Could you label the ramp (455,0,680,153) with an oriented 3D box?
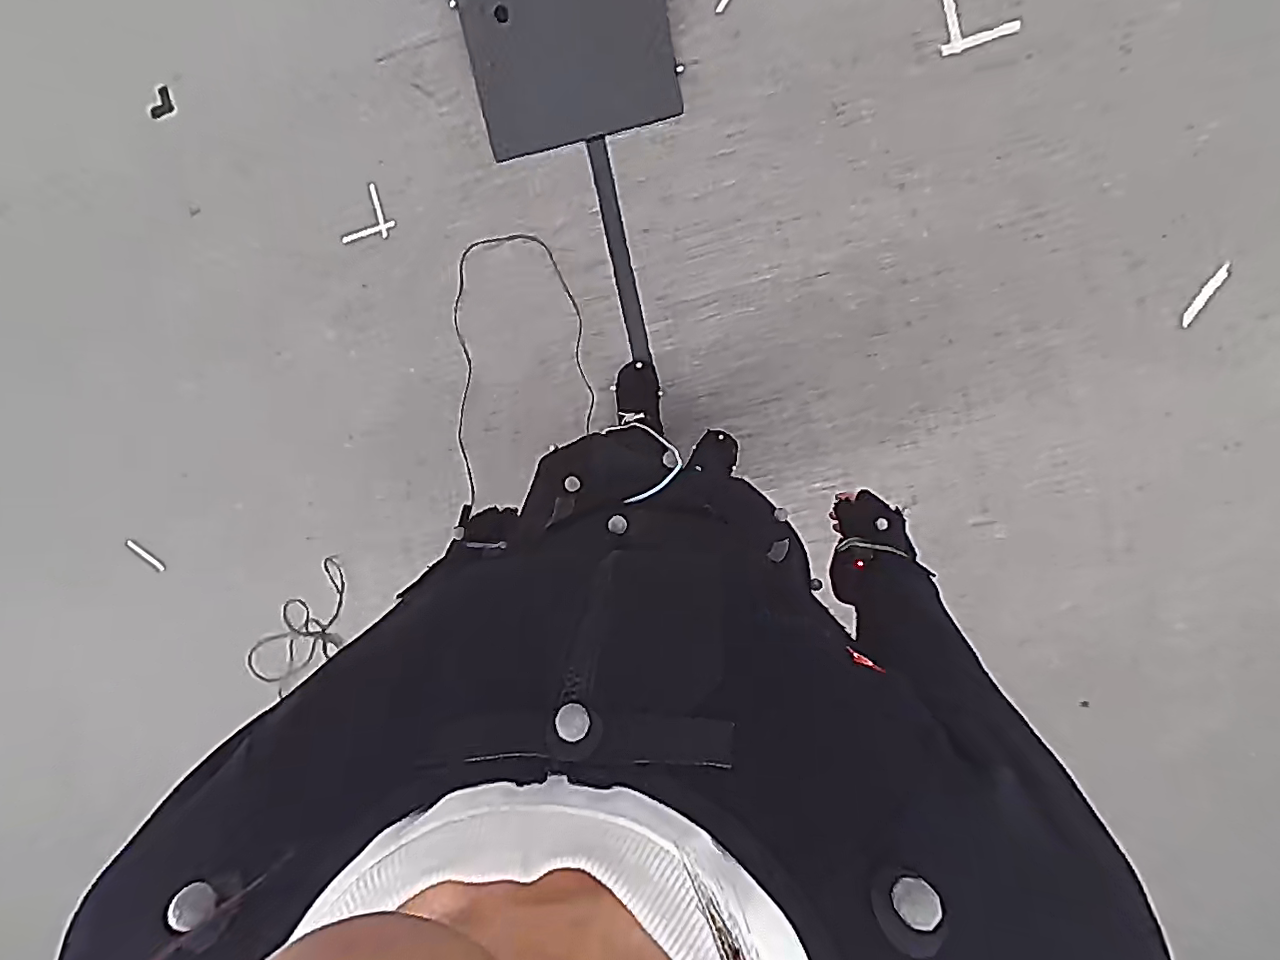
[{"bbox_3d":[-0.232,-1.334,1.202,0.509,0.206,0.991,-12,97,6],"label":"ramp"}]
